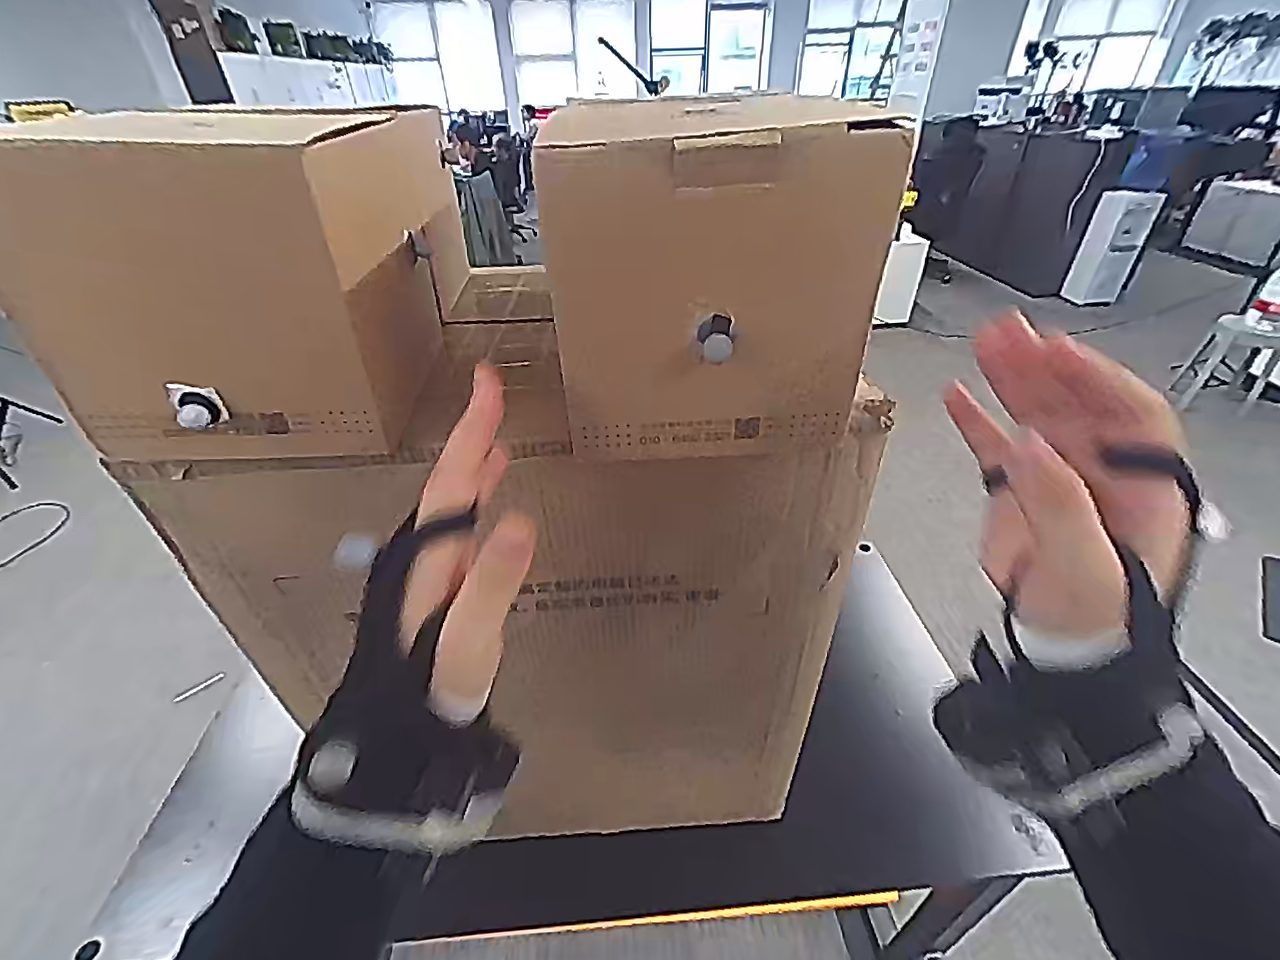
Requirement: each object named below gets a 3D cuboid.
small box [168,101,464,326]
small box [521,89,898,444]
[{"bbox_3d":[-0.274,-0.255,0.514,0.168,0.176,0.179,-4,35,-4],"label":"small box"},{"bbox_3d":[0.032,-0.133,0.343,0.168,0.176,0.179,-4,38,0],"label":"small box"}]
